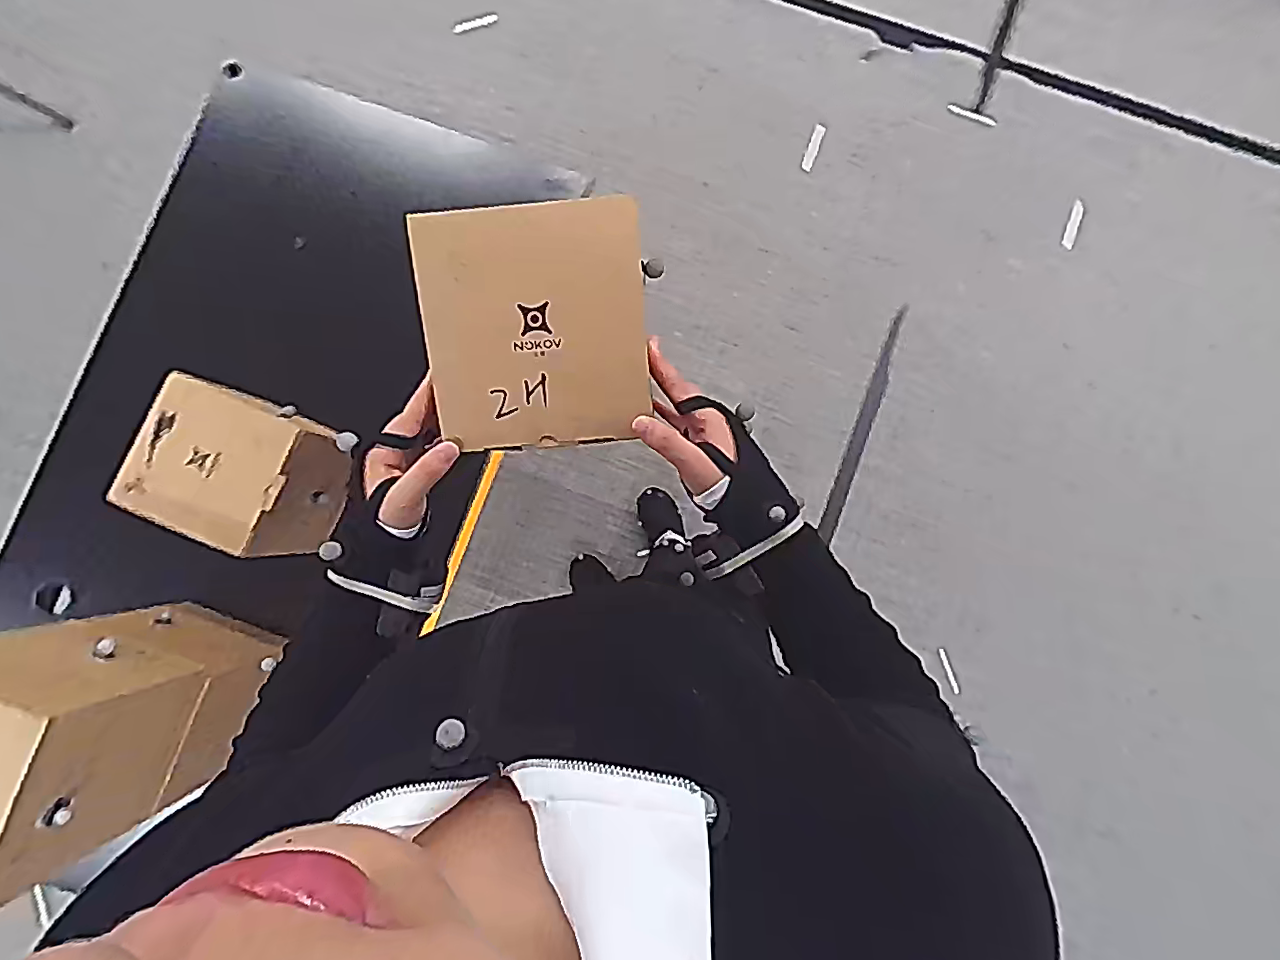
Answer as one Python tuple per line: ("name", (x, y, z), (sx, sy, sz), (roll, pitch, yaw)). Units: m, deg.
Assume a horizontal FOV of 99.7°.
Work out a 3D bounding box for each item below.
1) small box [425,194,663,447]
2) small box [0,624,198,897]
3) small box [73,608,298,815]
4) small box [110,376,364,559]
("small box", (-0.067, -0.130, 0.478), (0.168, 0.176, 0.179), (-3, 102, 3))
("small box", (-0.584, 0.258, 0.517), (0.168, 0.176, 0.179), (18, 85, 1))
("small box", (-0.587, 0.271, 0.681), (0.179, 0.176, 0.168), (19, 86, 0))
("small box", (-0.502, -0.011, 0.706), (0.179, 0.176, 0.168), (23, 85, 1))
